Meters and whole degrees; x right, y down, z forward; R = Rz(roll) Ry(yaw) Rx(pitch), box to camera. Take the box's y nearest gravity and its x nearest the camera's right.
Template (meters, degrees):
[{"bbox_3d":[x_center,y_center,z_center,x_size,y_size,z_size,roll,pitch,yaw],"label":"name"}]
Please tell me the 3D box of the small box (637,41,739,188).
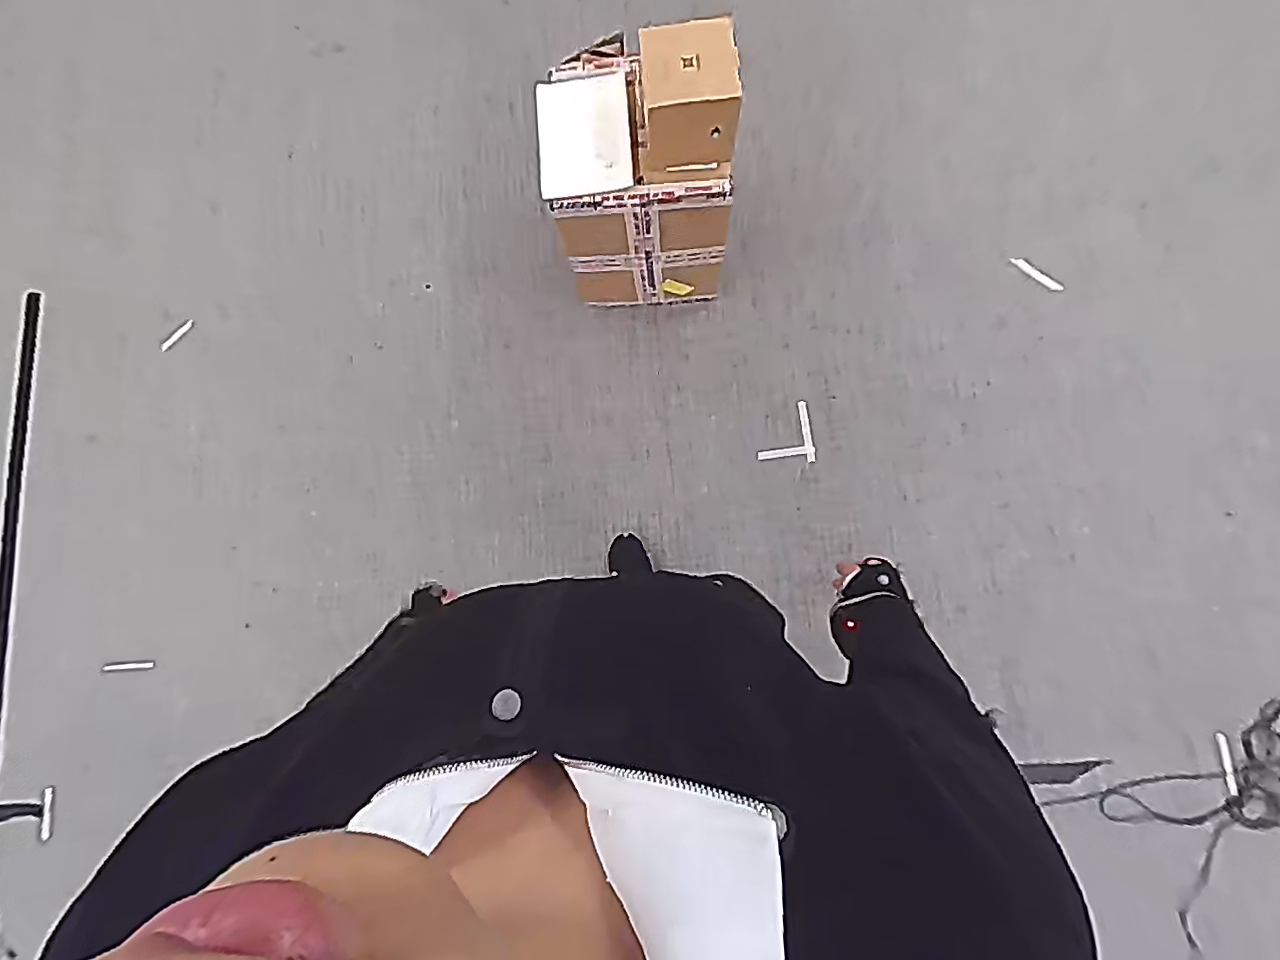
[{"bbox_3d":[0.090,-0.713,1.073,0.179,0.176,0.168,-7,83,2],"label":"small box"}]
